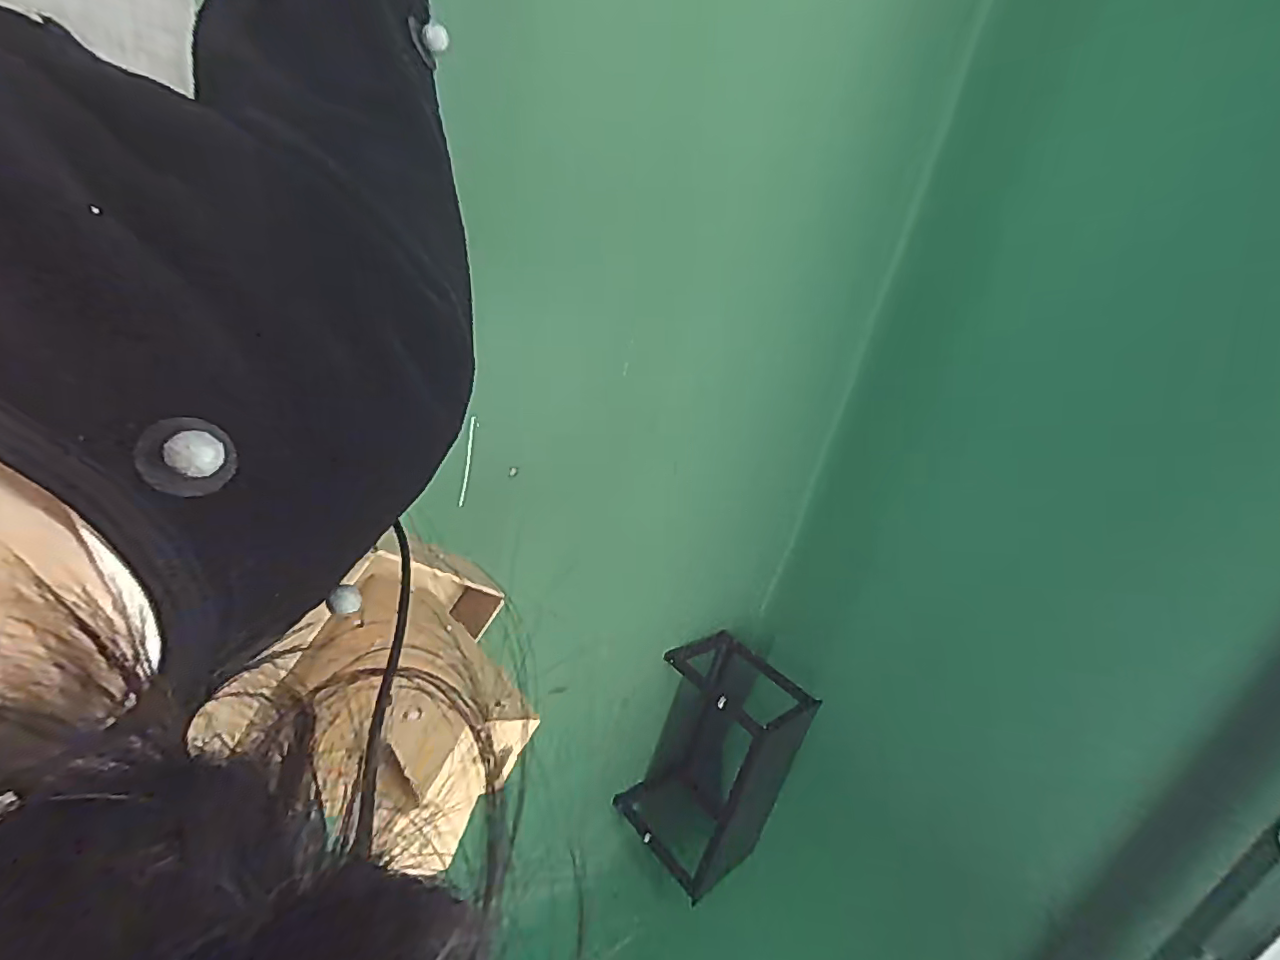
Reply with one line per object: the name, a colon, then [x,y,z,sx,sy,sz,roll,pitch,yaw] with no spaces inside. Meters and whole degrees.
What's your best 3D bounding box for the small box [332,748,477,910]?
small box: [-0.441,0.627,1.005,0.168,0.176,0.179,19,97,-50]
